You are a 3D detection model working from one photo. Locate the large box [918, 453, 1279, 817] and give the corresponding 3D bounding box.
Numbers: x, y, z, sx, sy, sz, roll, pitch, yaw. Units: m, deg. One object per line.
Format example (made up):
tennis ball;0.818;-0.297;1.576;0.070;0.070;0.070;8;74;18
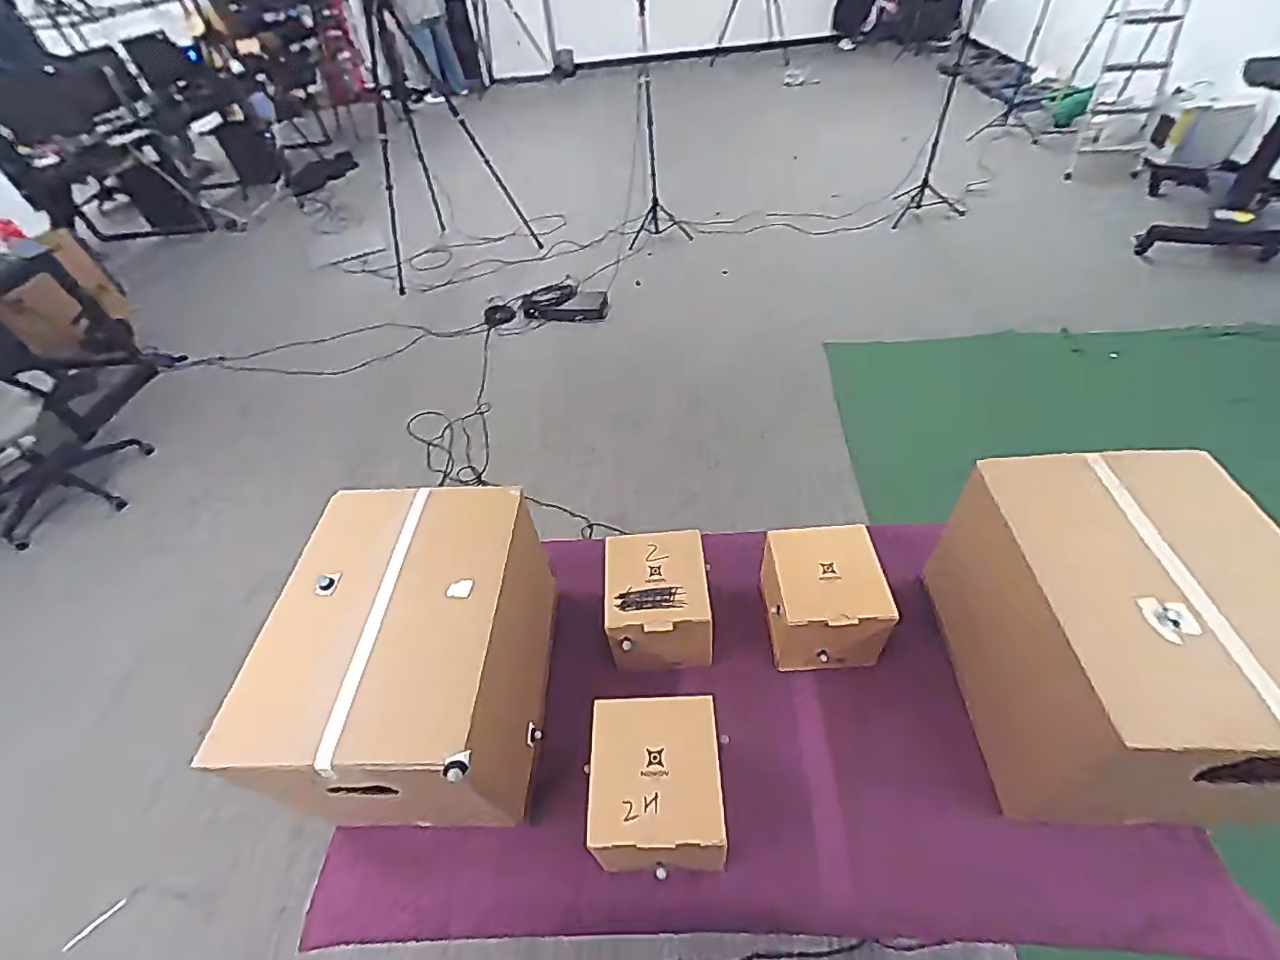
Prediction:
large box;0.651;0.212;0.762;0.320;0.320;0.408;-3;48;6
